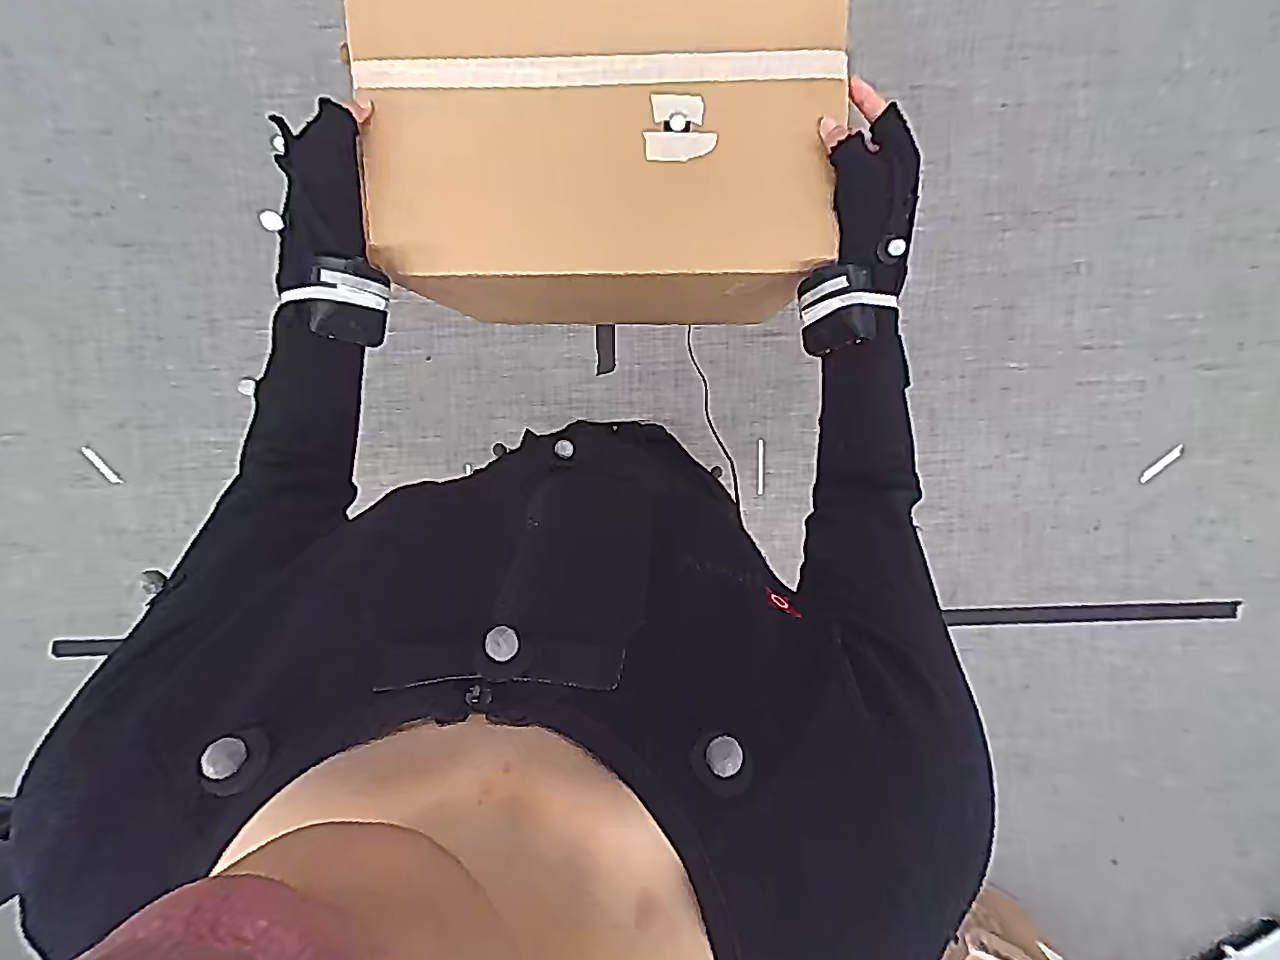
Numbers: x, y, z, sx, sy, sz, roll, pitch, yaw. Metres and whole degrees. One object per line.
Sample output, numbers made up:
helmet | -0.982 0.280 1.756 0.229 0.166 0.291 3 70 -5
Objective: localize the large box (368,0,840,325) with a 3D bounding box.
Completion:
large box | -0.030 -0.359 0.609 0.408 0.320 0.320 0 99 1
